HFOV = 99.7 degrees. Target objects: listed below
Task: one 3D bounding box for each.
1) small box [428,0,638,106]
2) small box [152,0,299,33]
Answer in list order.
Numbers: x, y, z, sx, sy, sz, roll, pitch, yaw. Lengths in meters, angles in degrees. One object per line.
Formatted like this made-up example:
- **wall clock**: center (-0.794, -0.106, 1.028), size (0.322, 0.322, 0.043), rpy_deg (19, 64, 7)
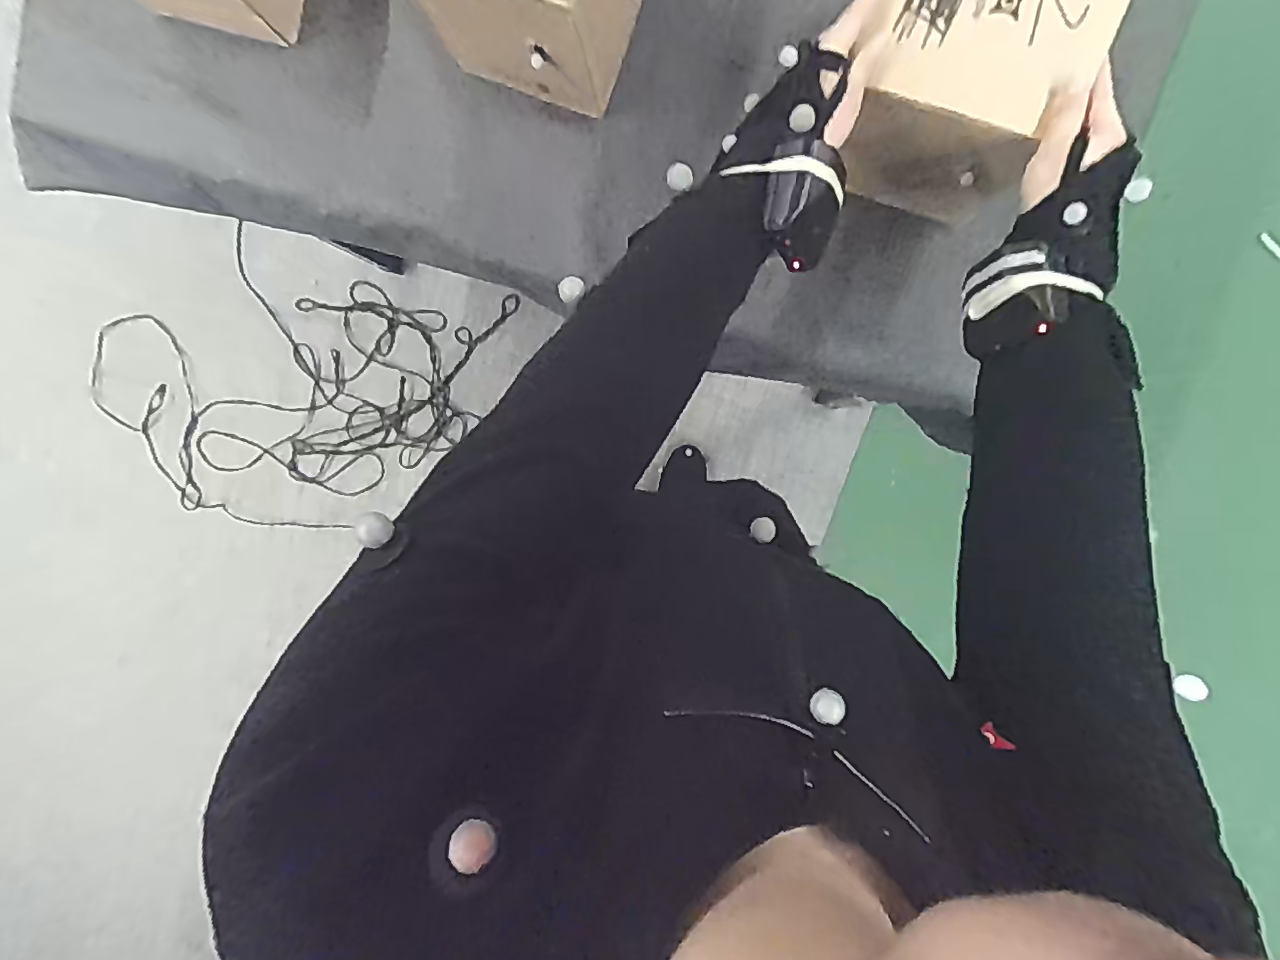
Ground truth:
- **small box**: center (-0.093, -0.488, 0.487), size (0.168, 0.176, 0.179), rpy_deg (21, 97, 1)
- **small box**: center (-0.449, -0.574, 0.508), size (0.179, 0.176, 0.168), rpy_deg (16, 98, 2)
